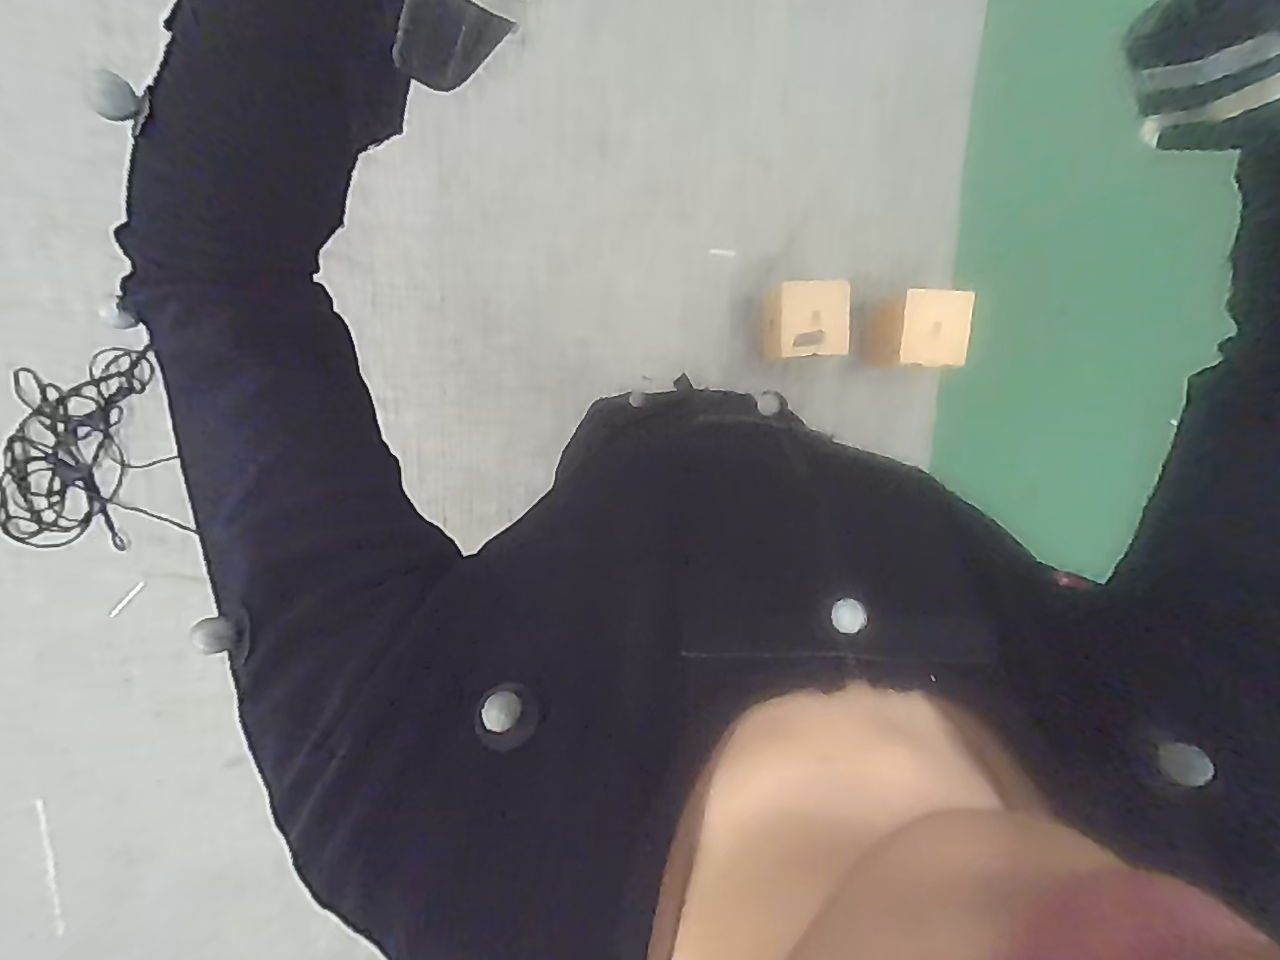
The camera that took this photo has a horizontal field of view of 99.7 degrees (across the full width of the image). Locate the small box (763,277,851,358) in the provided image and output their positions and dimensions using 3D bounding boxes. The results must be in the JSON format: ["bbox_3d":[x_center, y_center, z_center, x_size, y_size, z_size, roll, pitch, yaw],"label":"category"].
[{"bbox_3d":[0.407,-0.396,1.341,0.168,0.176,0.179,-2,98,-2],"label":"small box"}]

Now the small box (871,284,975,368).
[{"bbox_3d":[0.699,-0.379,1.354,0.168,0.176,0.179,2,99,-1],"label":"small box"}]
